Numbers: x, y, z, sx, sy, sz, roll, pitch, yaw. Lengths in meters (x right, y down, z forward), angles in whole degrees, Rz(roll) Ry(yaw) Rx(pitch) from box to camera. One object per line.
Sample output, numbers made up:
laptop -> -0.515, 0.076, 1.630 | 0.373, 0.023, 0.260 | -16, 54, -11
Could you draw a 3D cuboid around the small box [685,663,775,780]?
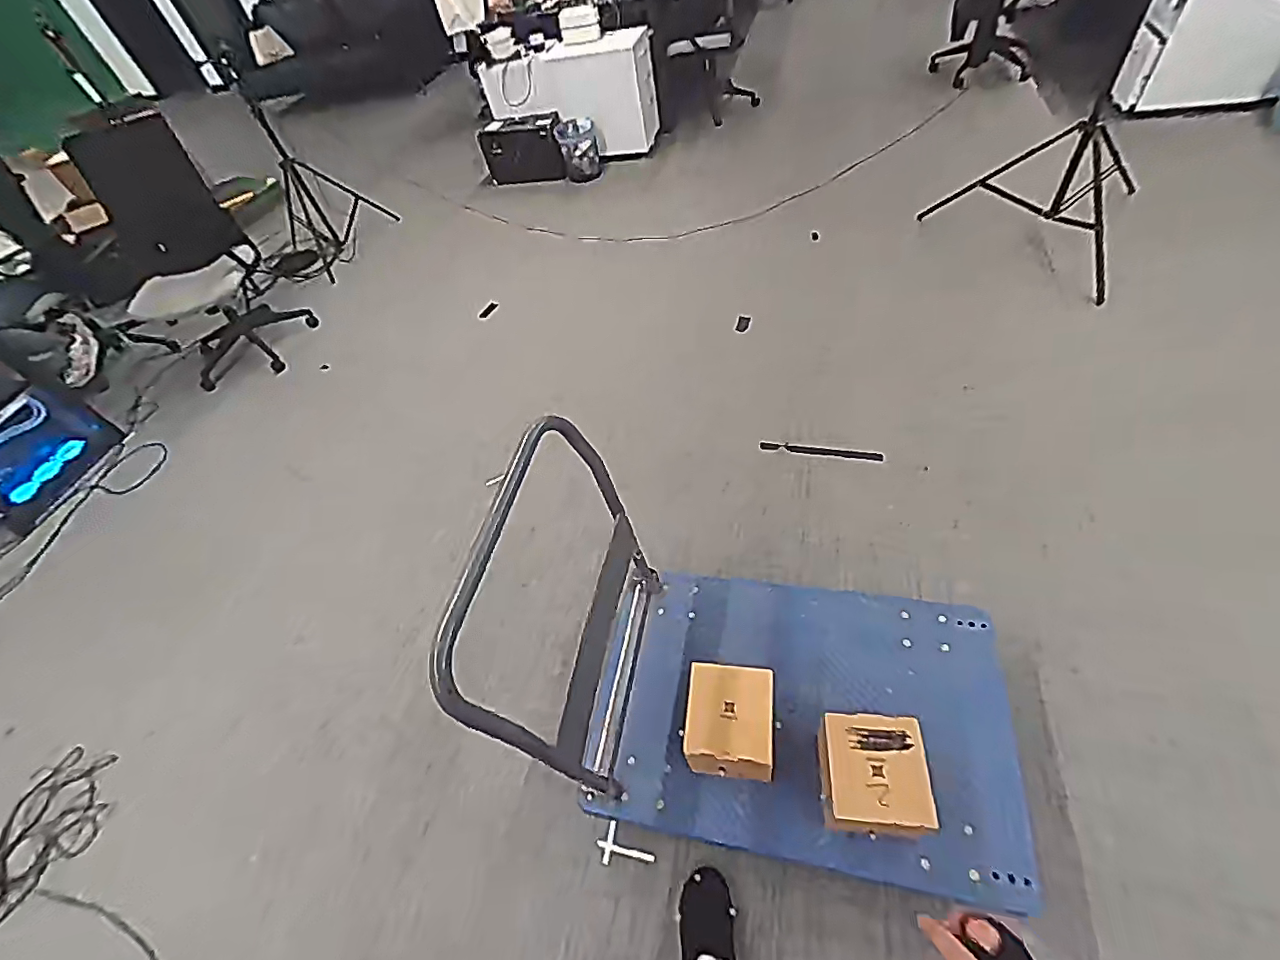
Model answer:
small box -> 0.189, 0.498, 1.115 | 0.168, 0.176, 0.179 | 1, 53, 13
